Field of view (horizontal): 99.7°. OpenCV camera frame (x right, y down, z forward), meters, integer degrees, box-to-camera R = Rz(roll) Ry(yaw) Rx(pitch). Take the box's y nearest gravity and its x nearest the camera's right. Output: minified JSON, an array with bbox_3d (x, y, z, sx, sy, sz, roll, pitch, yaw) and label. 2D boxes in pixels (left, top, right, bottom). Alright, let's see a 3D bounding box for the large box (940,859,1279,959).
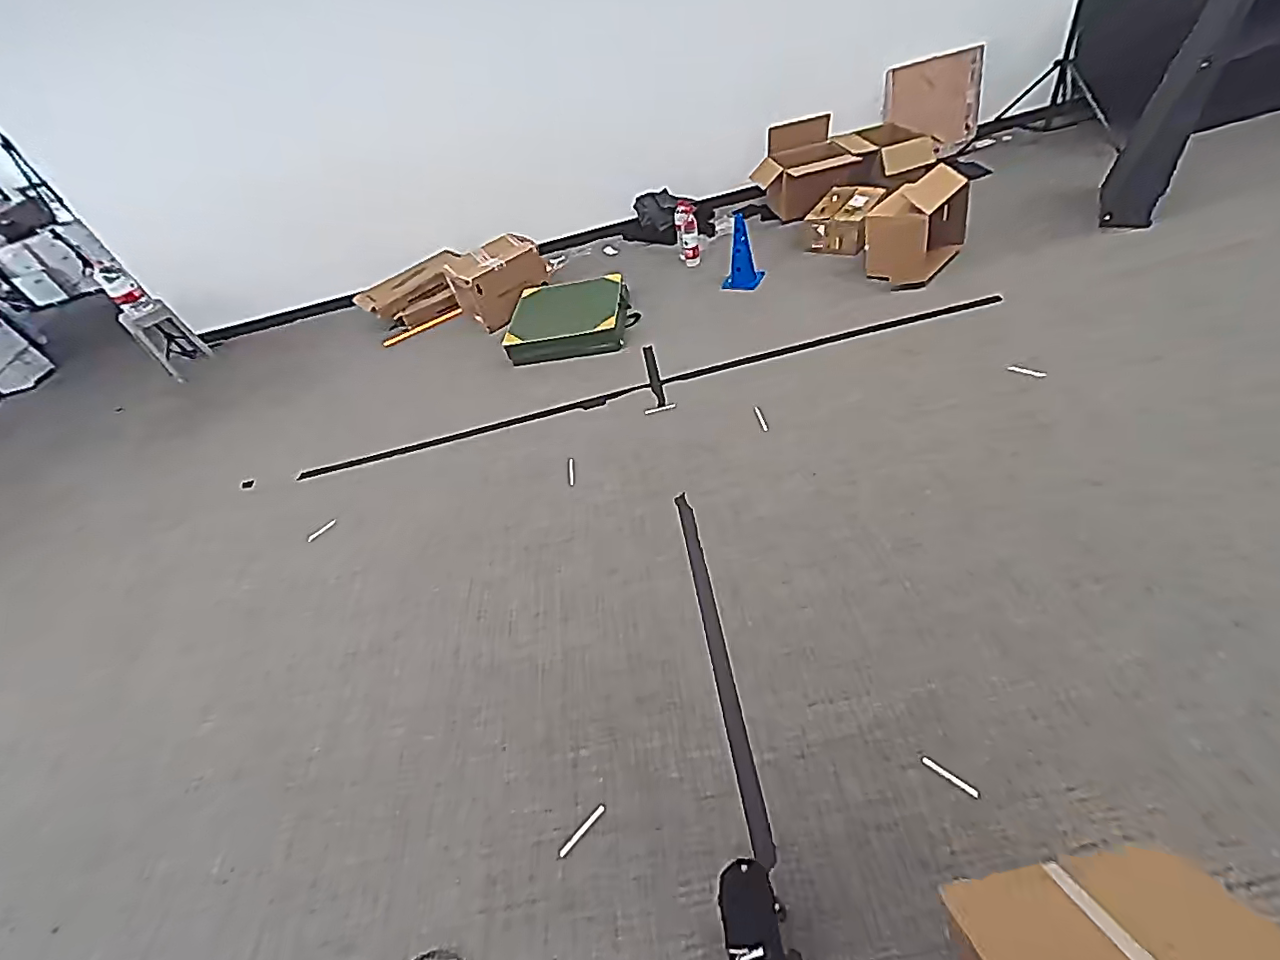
[{"bbox_3d":[0.585,0.690,0.542,0.320,0.408,0.320,-16,87,4],"label":"large box"}]
